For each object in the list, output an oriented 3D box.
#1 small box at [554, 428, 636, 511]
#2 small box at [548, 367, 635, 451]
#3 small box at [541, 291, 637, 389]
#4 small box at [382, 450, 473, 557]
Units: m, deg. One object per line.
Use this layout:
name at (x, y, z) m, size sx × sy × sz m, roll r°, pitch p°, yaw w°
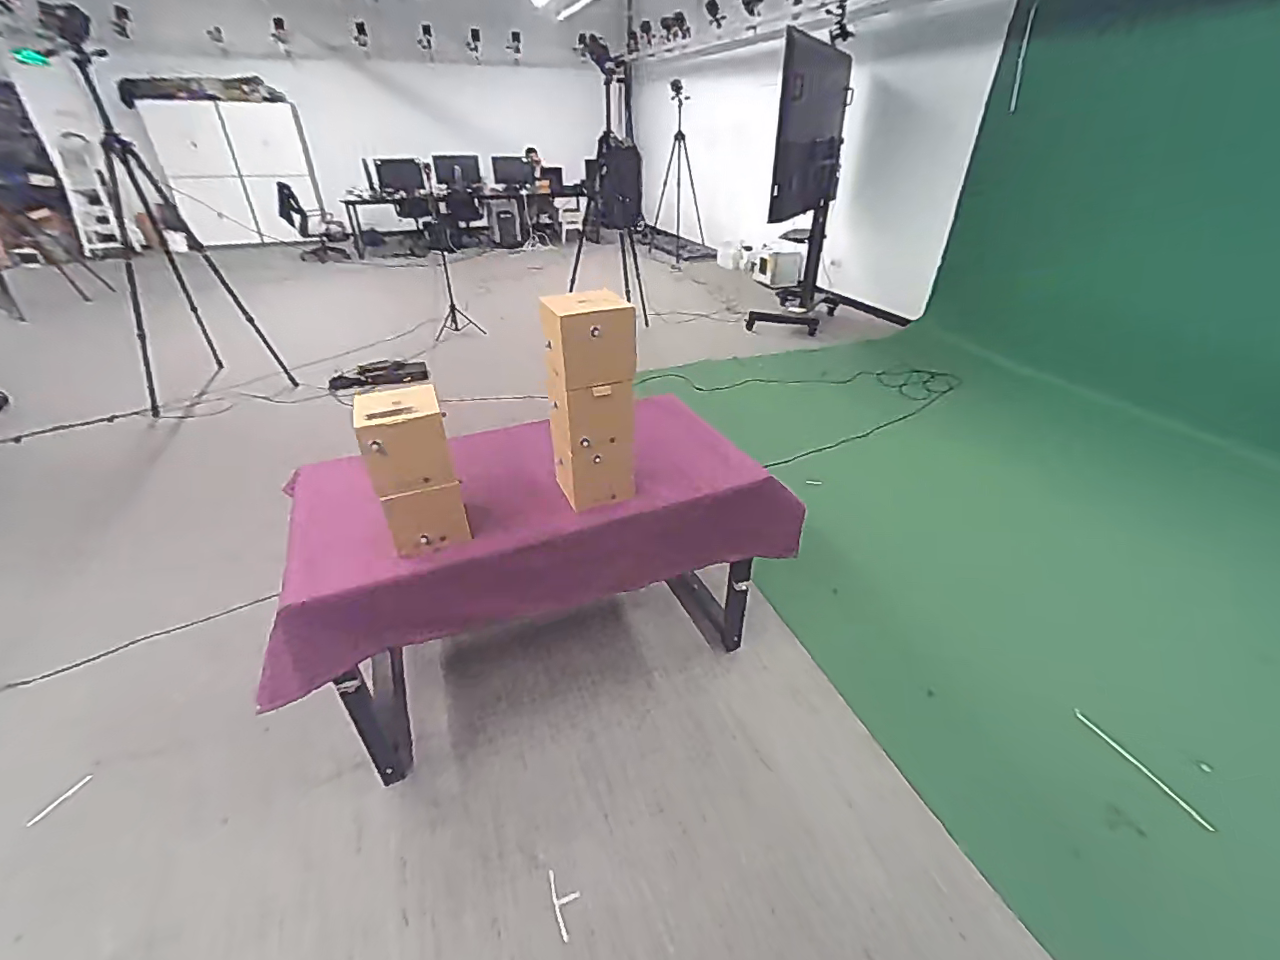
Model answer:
small box at (-0.117, -0.044, 1.416) m, size 0.168 × 0.176 × 0.179 m, roll -15°, pitch 35°, yaw -19°
small box at (-0.117, -0.182, 1.328) m, size 0.168 × 0.176 × 0.179 m, roll -14°, pitch 35°, yaw -20°
small box at (-0.114, -0.318, 1.235) m, size 0.179 × 0.176 × 0.168 m, roll -13°, pitch 36°, yaw -20°
small box at (-0.500, 0.053, 1.272) m, size 0.168 × 0.176 × 0.179 m, roll -13°, pitch 36°, yaw -18°
